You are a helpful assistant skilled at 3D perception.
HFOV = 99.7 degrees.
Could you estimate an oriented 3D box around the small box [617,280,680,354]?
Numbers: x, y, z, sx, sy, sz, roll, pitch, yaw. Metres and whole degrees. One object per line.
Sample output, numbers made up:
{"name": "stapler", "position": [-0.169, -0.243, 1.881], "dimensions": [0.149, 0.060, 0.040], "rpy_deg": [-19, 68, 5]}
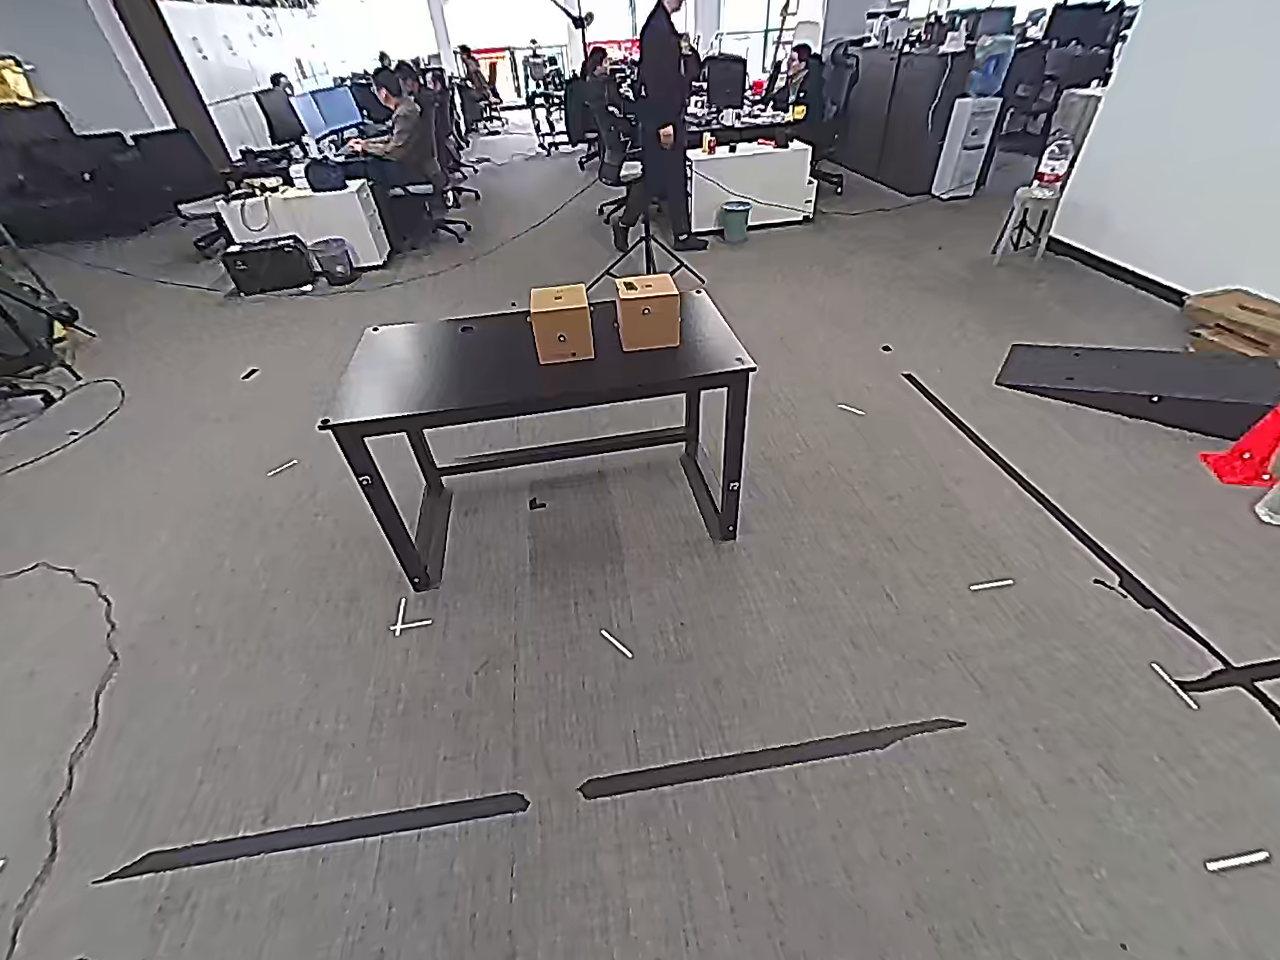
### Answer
{"name": "small box", "position": [0.027, -0.505, 1.685], "dimensions": [0.179, 0.176, 0.168], "rpy_deg": [-7, 40, -4]}

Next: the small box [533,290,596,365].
{"name": "small box", "position": [-0.229, -0.462, 1.657], "dimensions": [0.168, 0.176, 0.179], "rpy_deg": [-7, 41, -4]}
